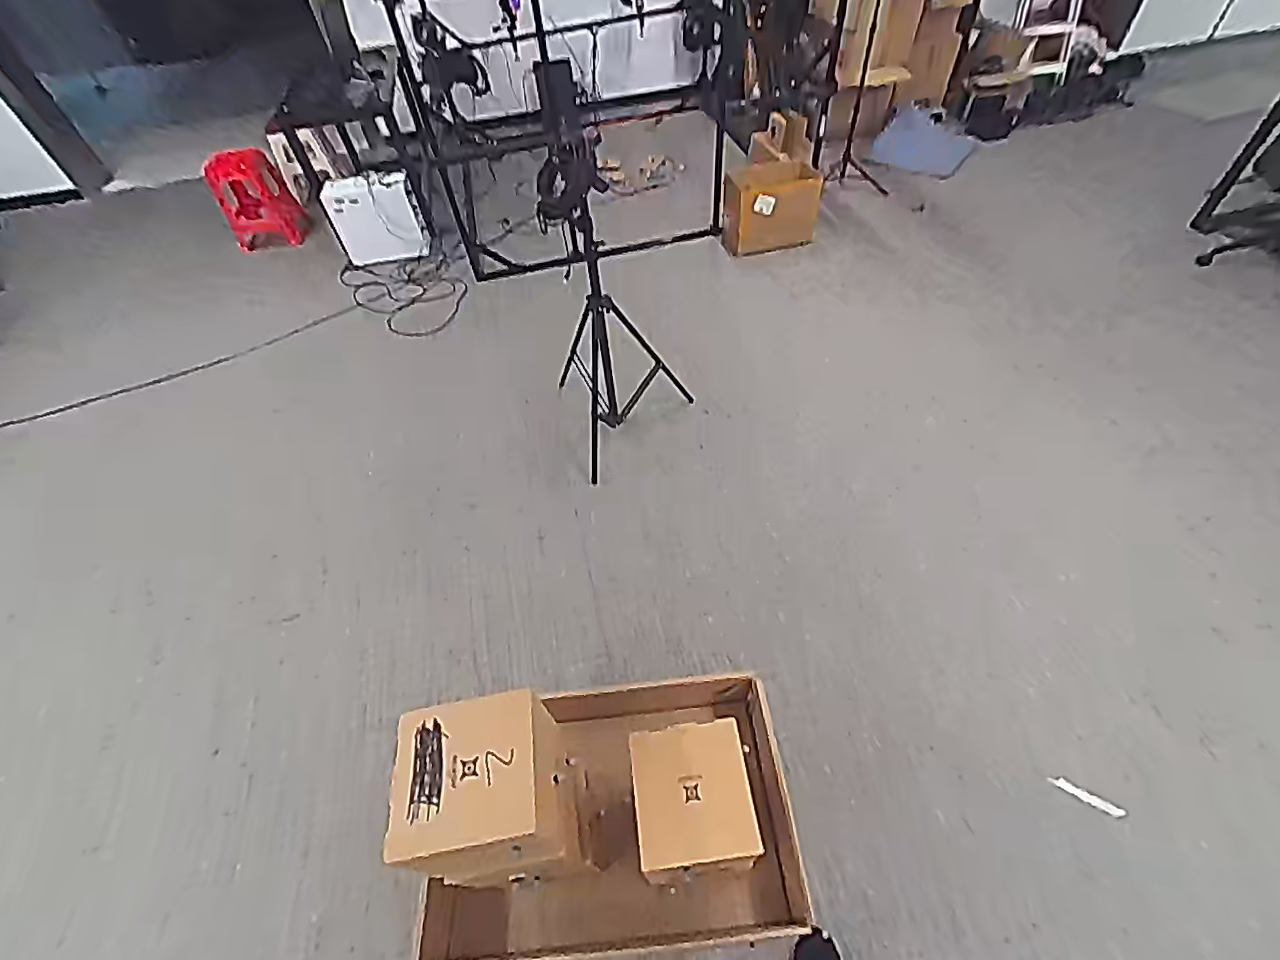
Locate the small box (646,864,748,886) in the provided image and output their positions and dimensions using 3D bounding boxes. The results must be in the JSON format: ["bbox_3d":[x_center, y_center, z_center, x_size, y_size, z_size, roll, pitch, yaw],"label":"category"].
[{"bbox_3d":[0.087,0.597,0.952,0.168,0.176,0.179,-8,50,-2],"label":"small box"}]

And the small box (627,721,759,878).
[{"bbox_3d":[0.077,0.493,0.828,0.168,0.176,0.179,-8,49,-1],"label":"small box"}]

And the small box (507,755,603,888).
[{"bbox_3d":[-0.168,0.611,0.963,0.179,0.176,0.168,-8,51,-3],"label":"small box"}]

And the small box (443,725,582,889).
[{"bbox_3d":[-0.190,0.507,0.837,0.168,0.176,0.179,-12,50,-2],"label":"small box"}]
